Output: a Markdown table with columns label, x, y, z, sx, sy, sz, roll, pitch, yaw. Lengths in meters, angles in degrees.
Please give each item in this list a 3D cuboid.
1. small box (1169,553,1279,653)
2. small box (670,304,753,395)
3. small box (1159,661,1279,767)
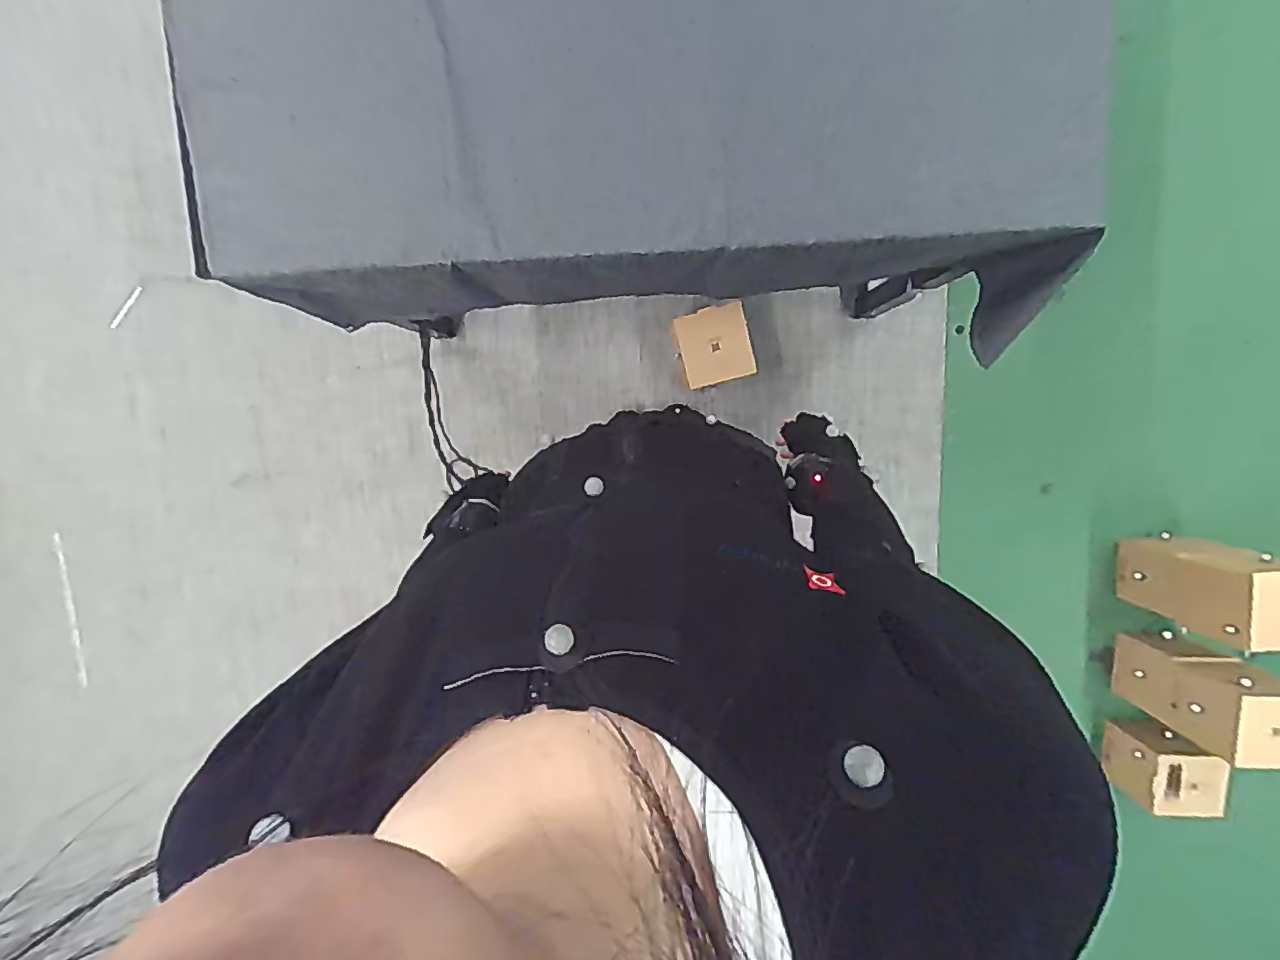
| label | x | y | z | sx | sy | sz | roll | pitch | yaw |
| --- | --- | --- | --- | --- | --- | --- | --- | --- | --- |
| small box | 1.352 | 0.268 | 1.218 | 0.168 | 0.176 | 0.179 | -5 | 97 | 2 |
| small box | 0.173 | -0.319 | 1.356 | 0.168 | 0.176 | 0.179 | -14 | 95 | 4 |
| small box | 1.363 | 0.533 | 1.248 | 0.179 | 0.176 | 0.168 | -1 | 98 | 2 |
